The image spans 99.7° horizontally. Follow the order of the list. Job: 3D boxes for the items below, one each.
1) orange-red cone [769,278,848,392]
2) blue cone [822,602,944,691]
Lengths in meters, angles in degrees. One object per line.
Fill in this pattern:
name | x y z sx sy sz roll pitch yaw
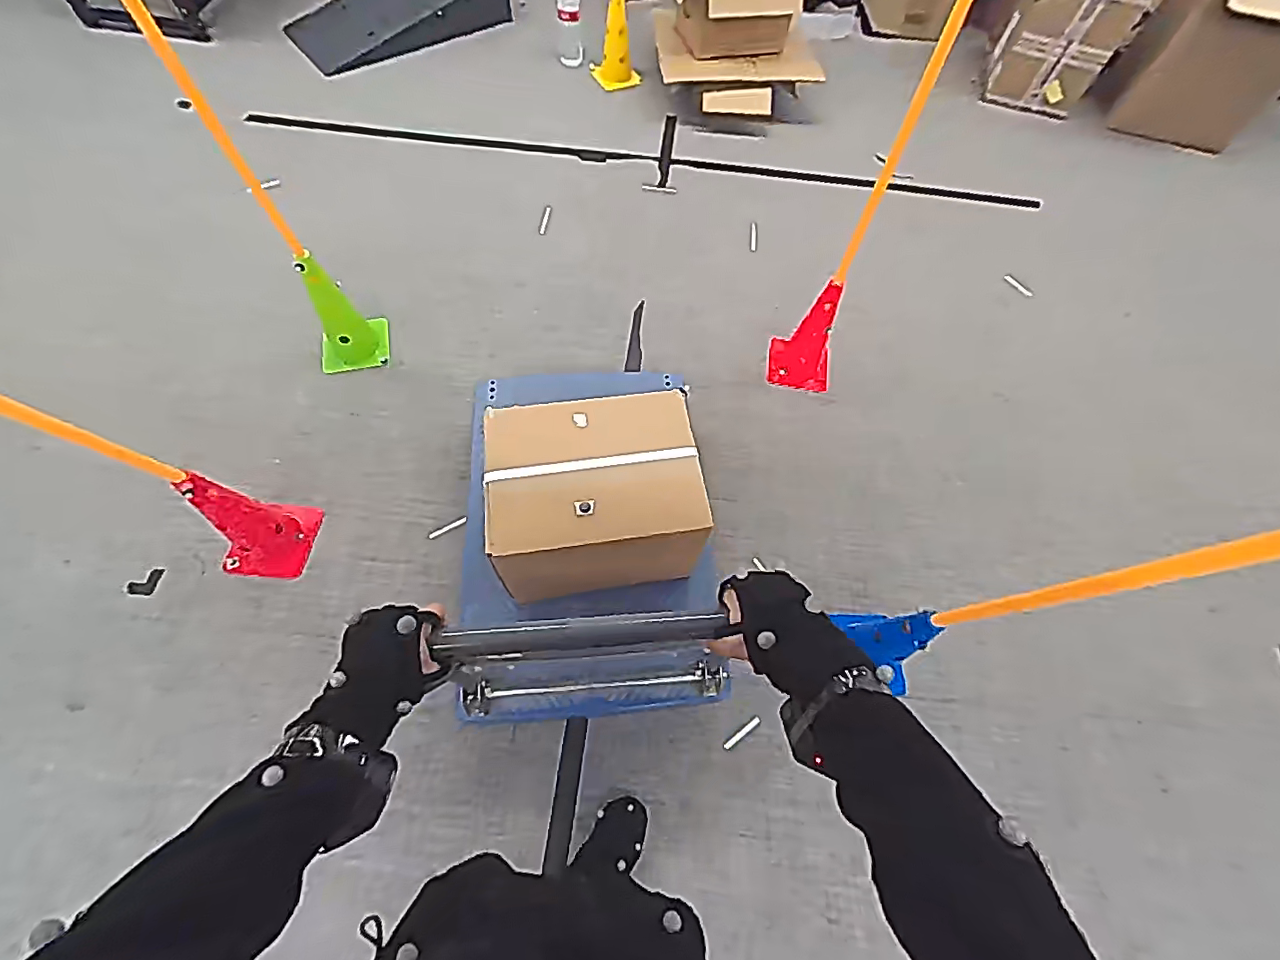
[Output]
orange-red cone | 0.542 -0.460 1.631 0.199 0.360 0.198 13 63 2
blue cone | 0.575 0.355 1.225 0.193 0.380 0.192 3 61 -2
